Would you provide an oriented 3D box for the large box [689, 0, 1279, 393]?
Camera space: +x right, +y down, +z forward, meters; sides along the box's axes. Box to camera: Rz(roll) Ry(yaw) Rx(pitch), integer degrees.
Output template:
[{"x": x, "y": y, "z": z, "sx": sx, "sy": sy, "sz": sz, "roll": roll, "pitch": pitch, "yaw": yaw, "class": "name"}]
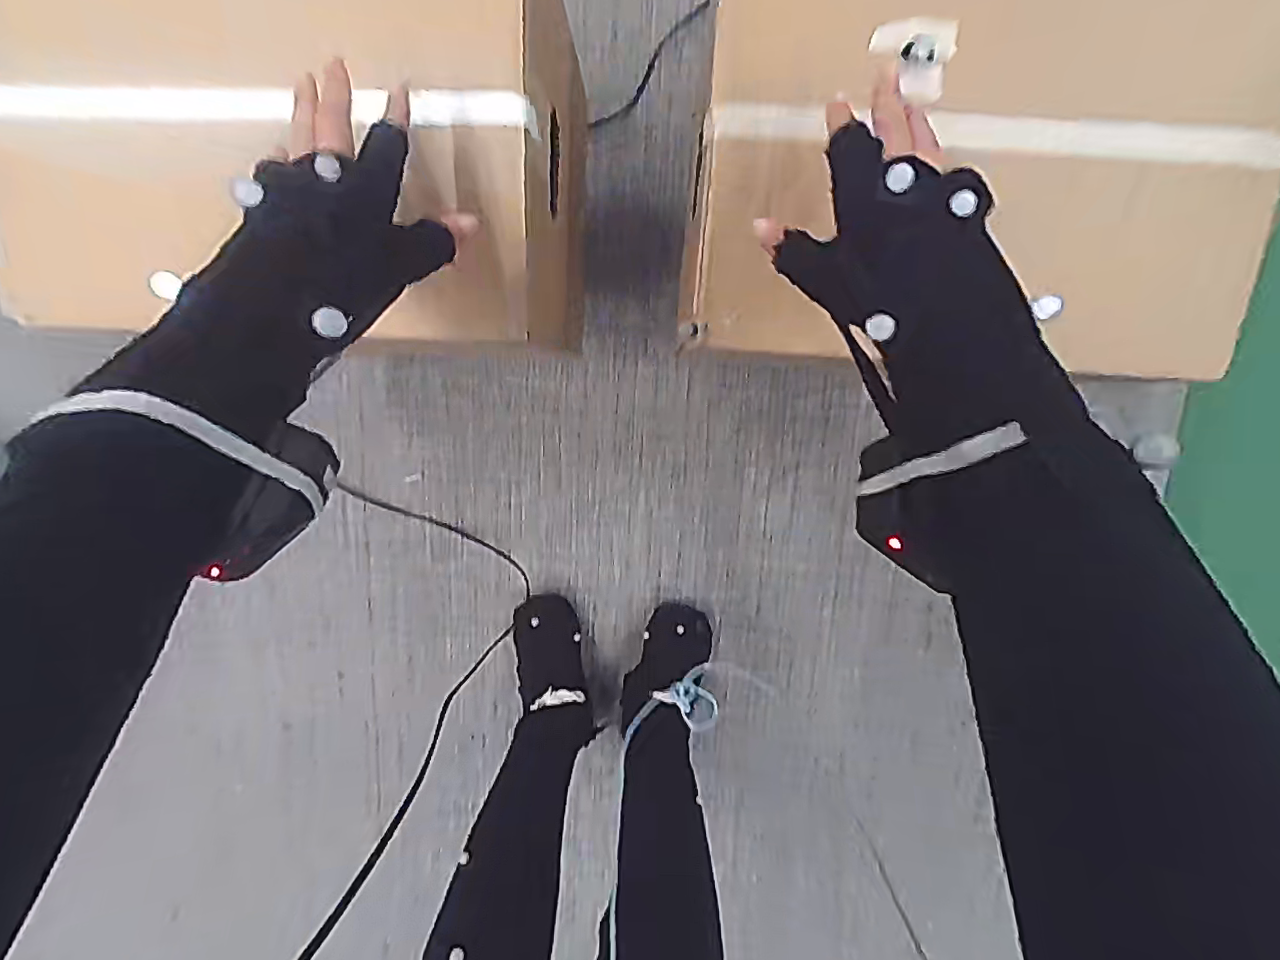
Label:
[{"x": 0.269, "y": -0.263, "z": 0.557, "sx": 0.408, "sy": 0.320, "sz": 0.320, "roll": 5, "pitch": 100, "yaw": 2, "class": "large box"}]
